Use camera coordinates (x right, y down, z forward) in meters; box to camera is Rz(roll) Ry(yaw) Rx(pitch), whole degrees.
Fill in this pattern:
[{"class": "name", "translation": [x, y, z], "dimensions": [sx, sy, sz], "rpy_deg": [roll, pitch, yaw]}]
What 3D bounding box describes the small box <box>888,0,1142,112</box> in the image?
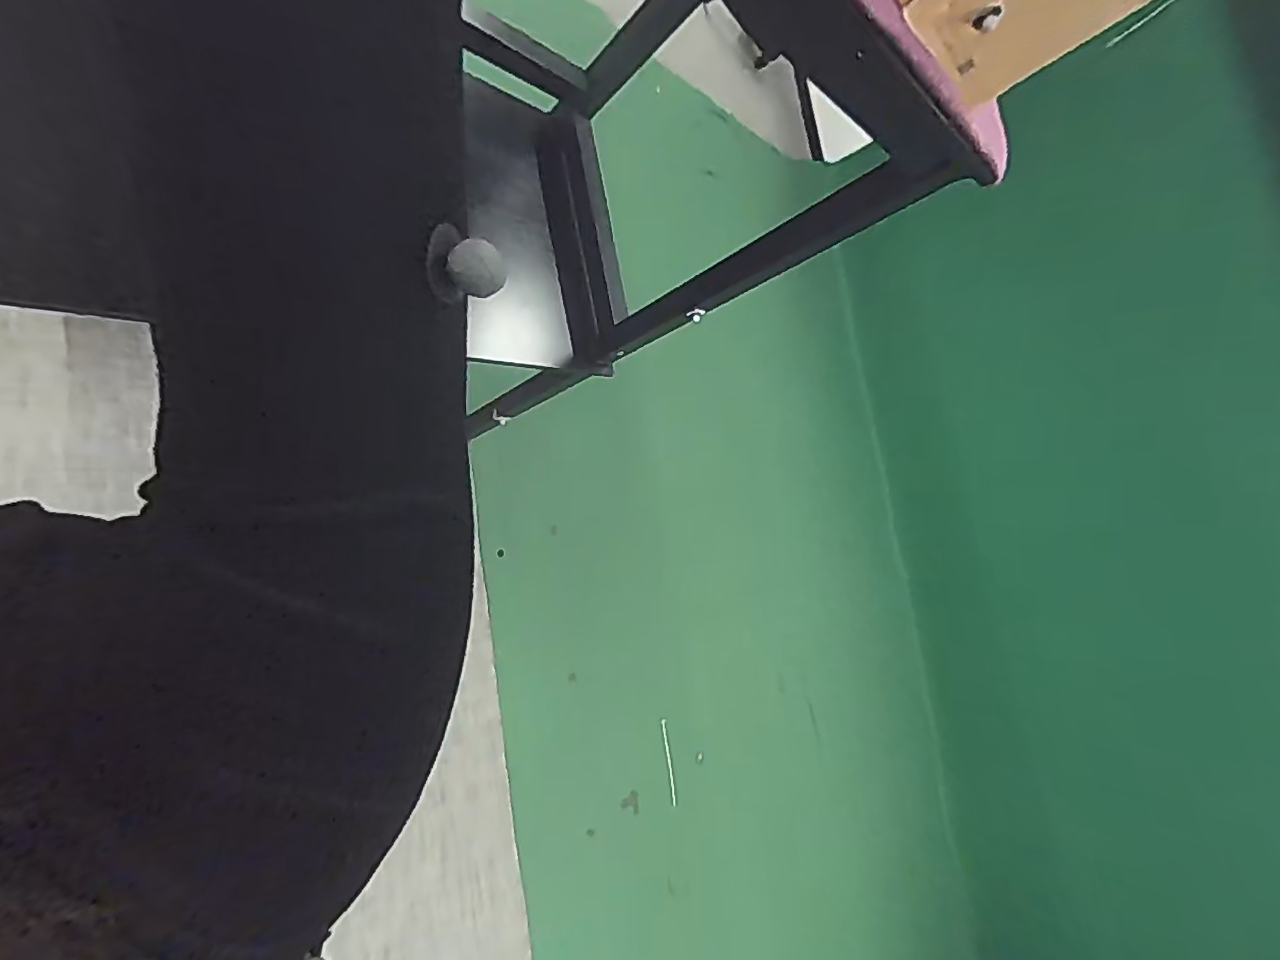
[{"class": "small box", "translation": [0.340, -0.513, 0.512], "dimensions": [0.168, 0.176, 0.179], "rpy_deg": [10, 74, -42]}]
